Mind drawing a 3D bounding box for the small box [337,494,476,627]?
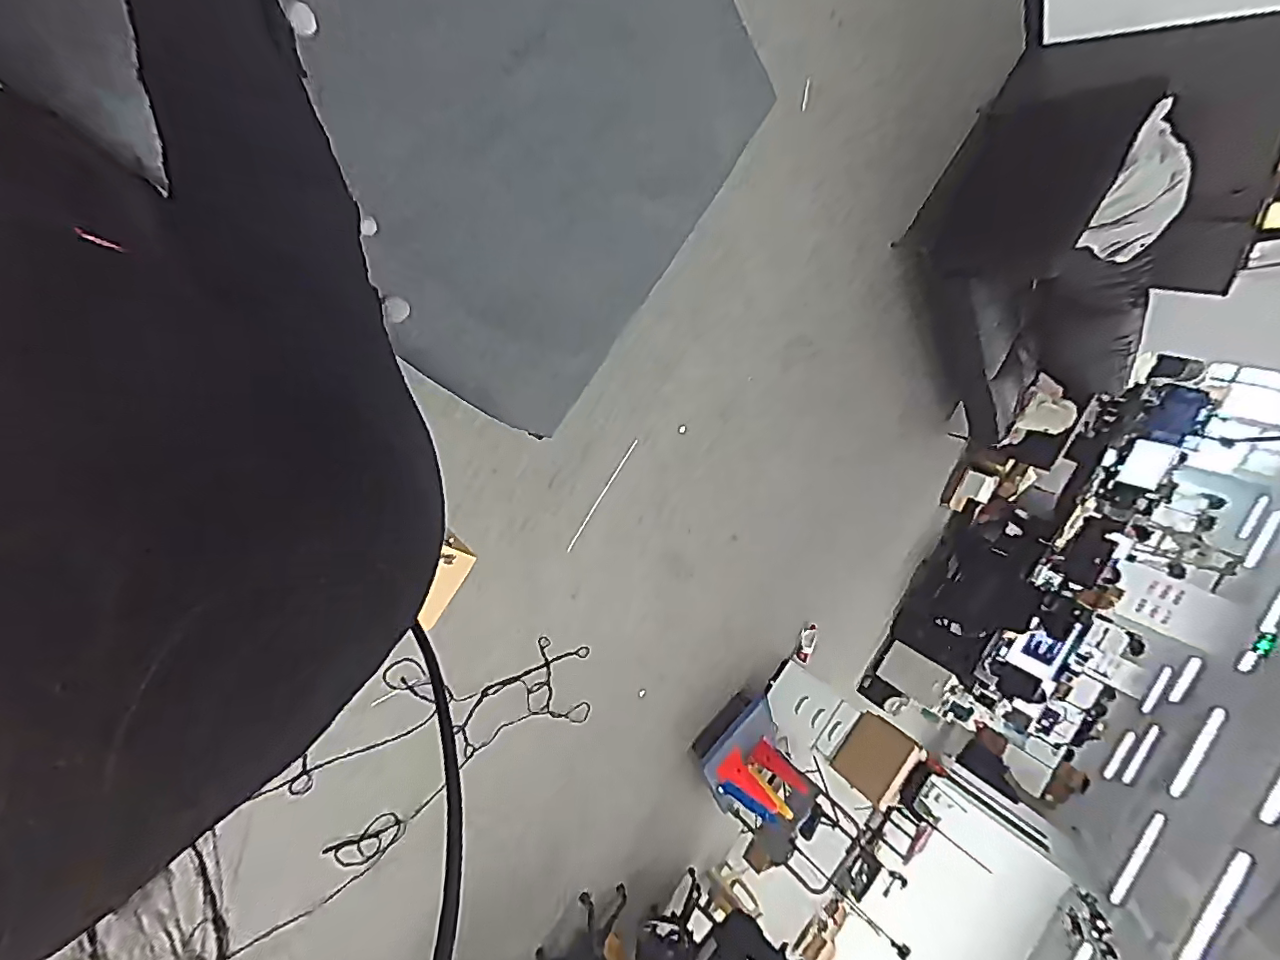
[{"bbox_3d":[-0.468,0.157,1.072,0.179,0.176,0.168,-56,138,-4],"label":"small box"}]
